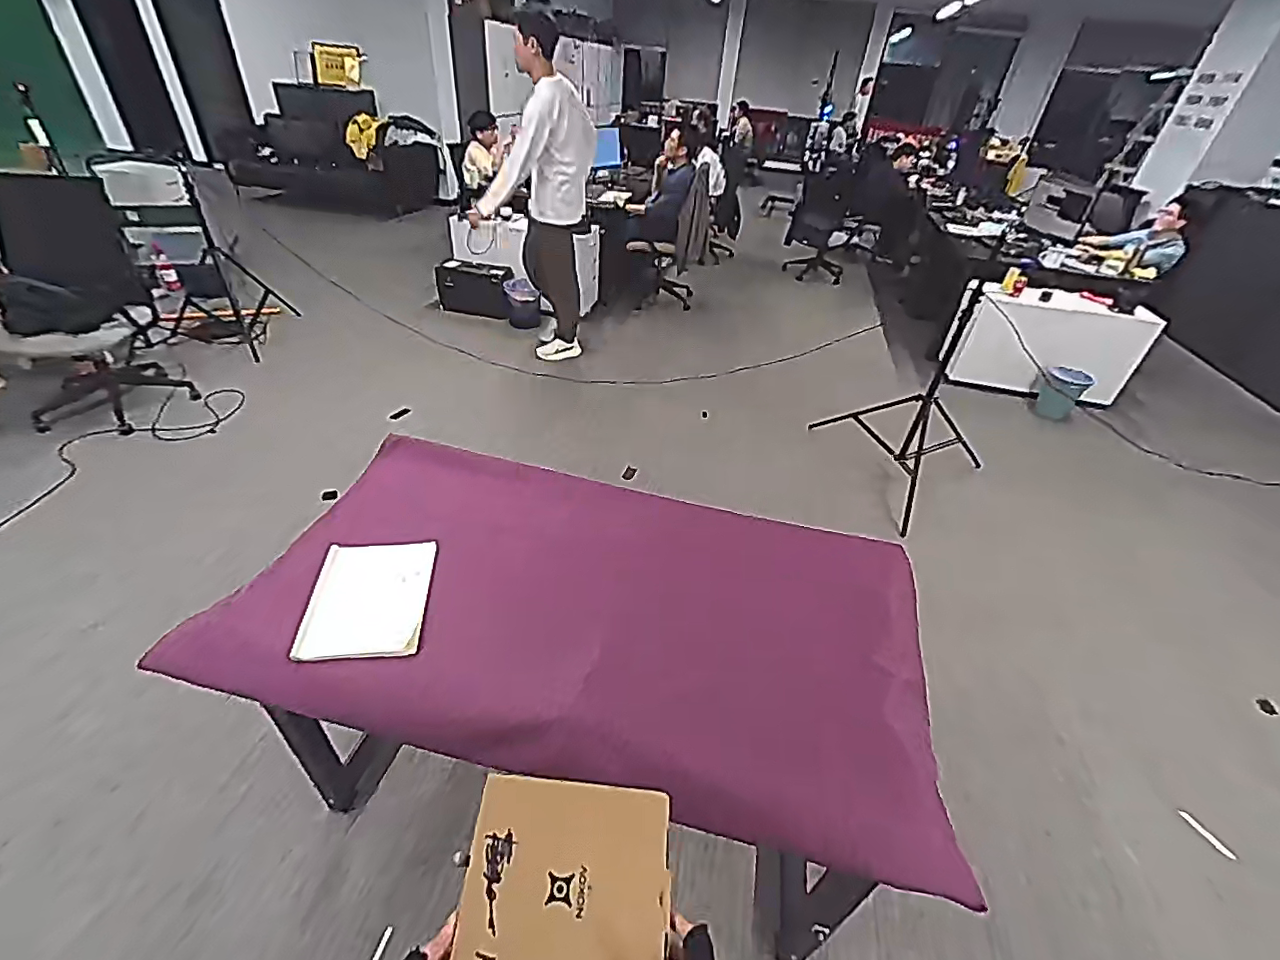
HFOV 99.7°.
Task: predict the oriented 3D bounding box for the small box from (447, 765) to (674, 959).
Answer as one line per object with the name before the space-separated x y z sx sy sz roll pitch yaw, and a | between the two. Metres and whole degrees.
small box | -0.076 0.387 0.510 0.179 0.176 0.168 12 47 -10
